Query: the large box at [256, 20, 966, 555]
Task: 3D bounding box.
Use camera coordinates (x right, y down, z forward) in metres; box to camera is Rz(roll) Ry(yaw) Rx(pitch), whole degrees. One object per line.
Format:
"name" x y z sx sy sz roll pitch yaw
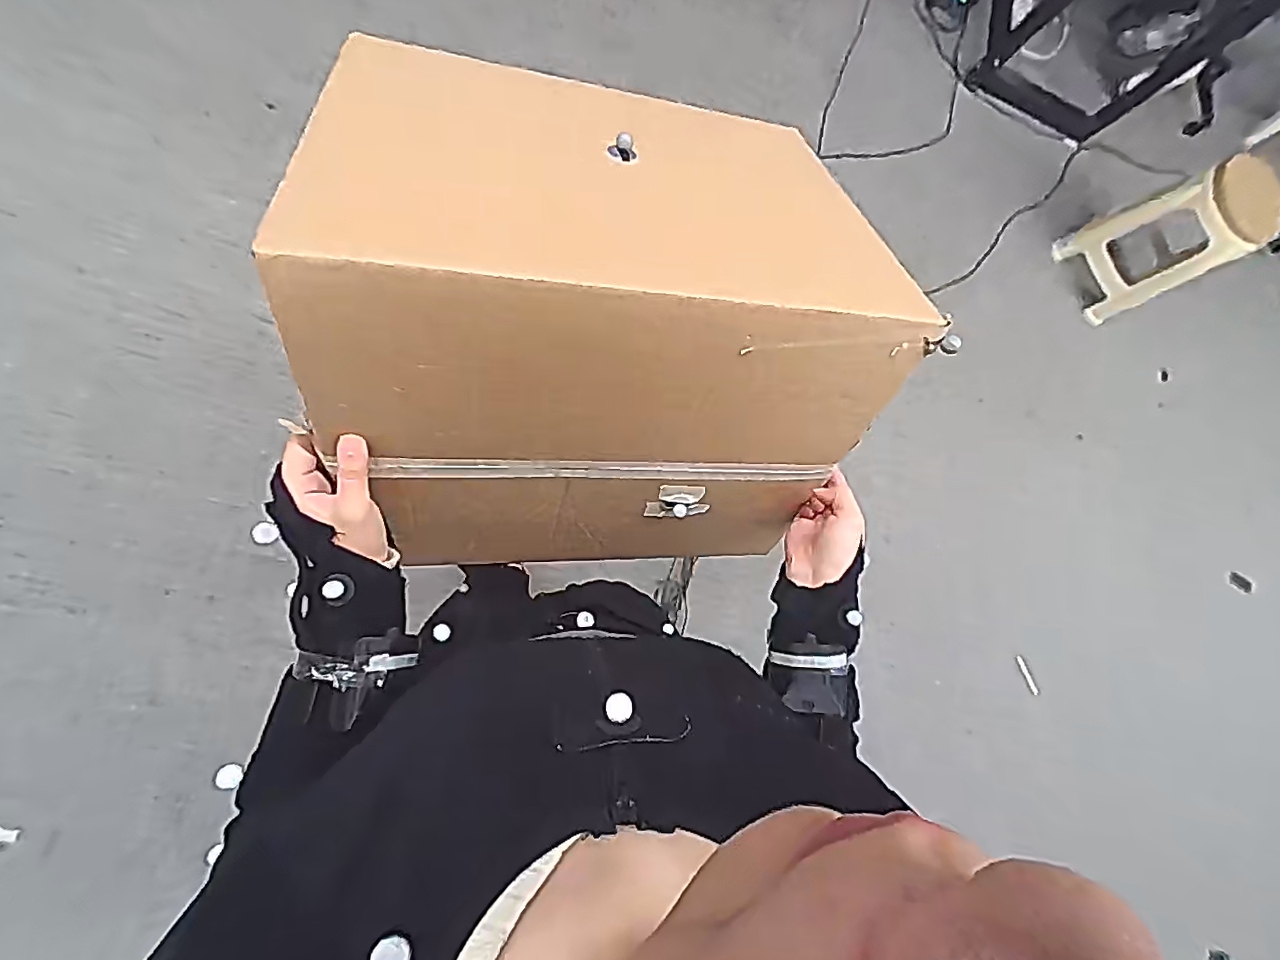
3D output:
"large box" -0.039 -0.150 0.491 0.408 0.320 0.320 -1 54 -16
